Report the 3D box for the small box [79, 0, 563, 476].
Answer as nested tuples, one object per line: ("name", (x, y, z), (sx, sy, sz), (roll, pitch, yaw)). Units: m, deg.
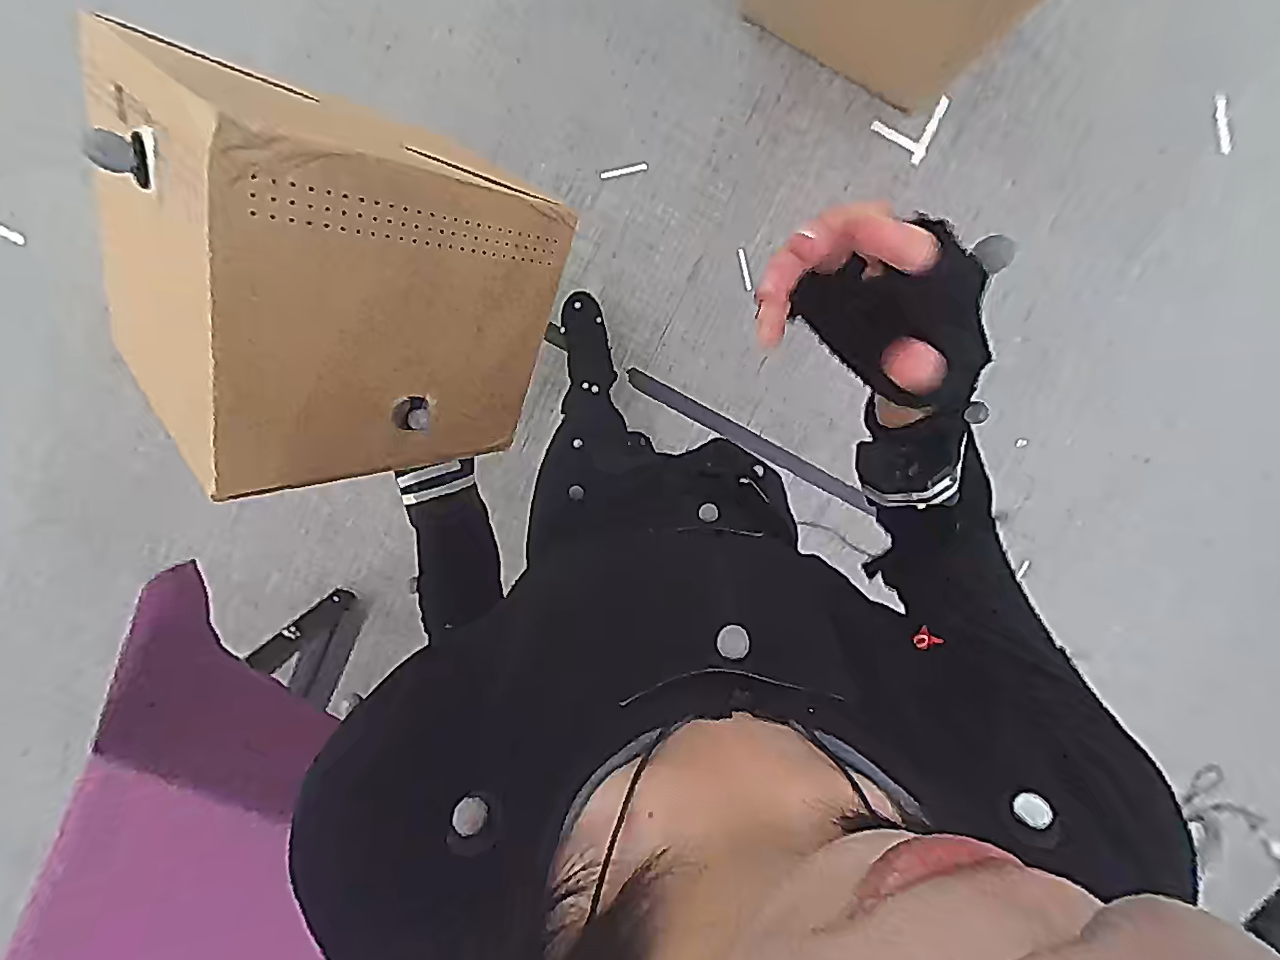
("small box", (-0.171, -0.128, 0.309), (0.168, 0.179, 0.176), (39, 122, 27))
